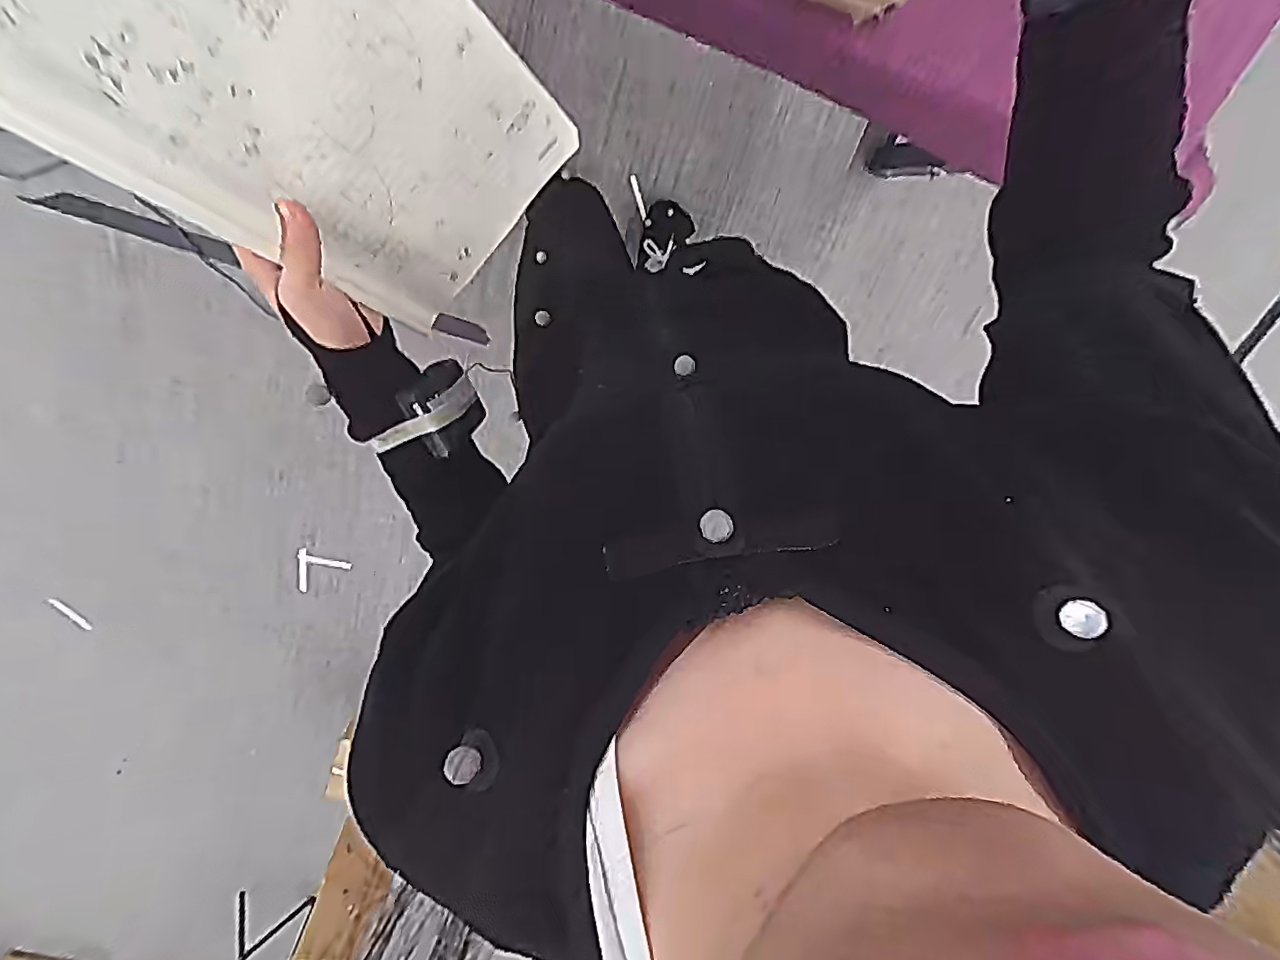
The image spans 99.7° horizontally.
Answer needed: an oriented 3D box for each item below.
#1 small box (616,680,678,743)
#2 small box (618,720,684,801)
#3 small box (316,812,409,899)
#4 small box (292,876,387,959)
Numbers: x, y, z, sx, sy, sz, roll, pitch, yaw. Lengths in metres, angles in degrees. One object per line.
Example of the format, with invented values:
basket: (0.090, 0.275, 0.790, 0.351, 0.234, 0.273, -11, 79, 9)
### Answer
small box: (0.029, 0.874, 1.994, 0.179, 0.176, 0.168, -23, 117, 12)
small box: (0.034, 0.954, 1.850, 0.179, 0.176, 0.168, -23, 117, 12)
small box: (-0.784, 1.078, 1.538, 0.179, 0.176, 0.168, 18, 118, -13)
small box: (-0.779, 1.170, 1.401, 0.168, 0.176, 0.179, 20, 117, -14)
